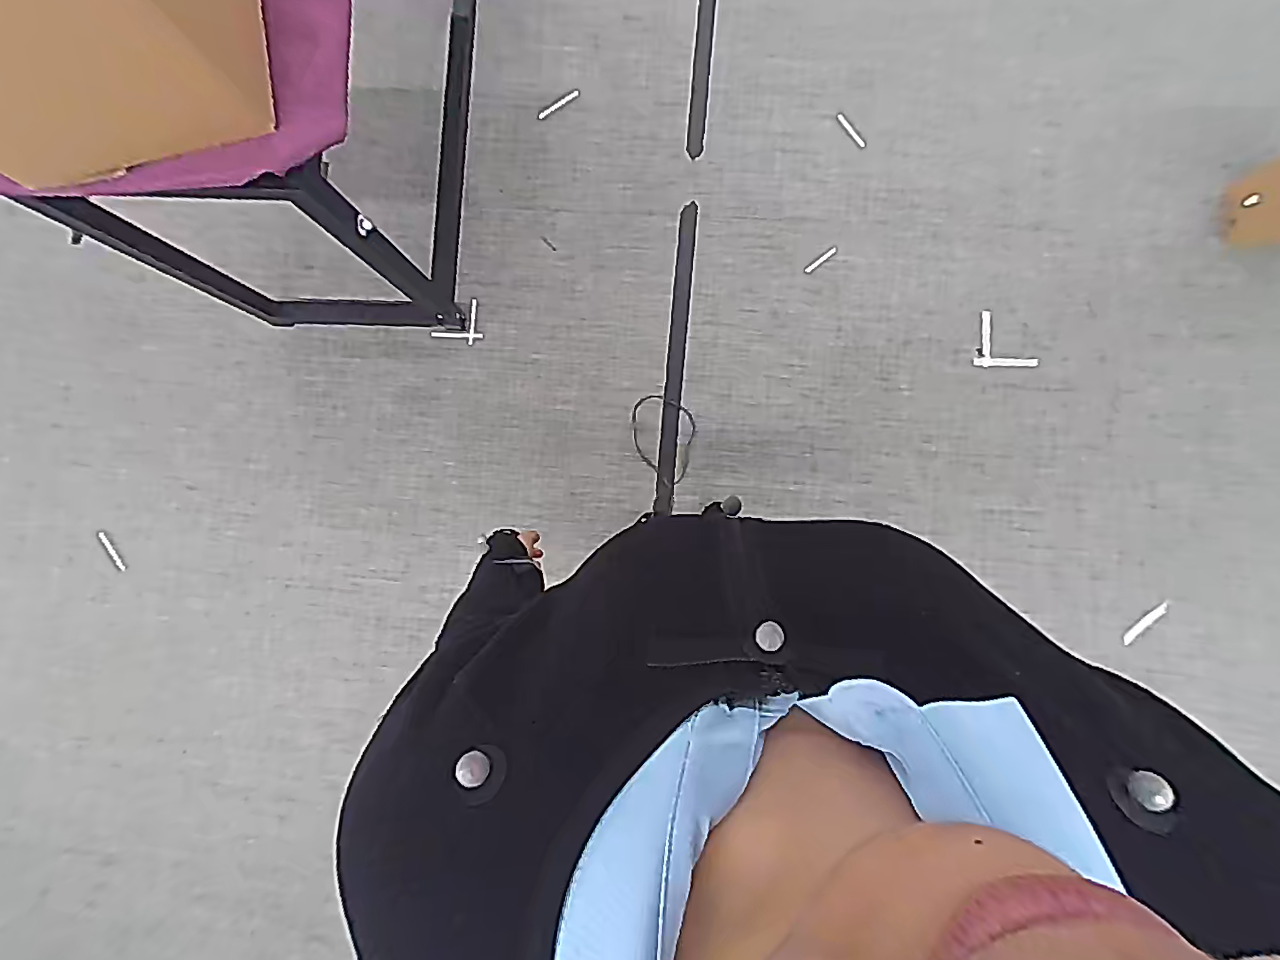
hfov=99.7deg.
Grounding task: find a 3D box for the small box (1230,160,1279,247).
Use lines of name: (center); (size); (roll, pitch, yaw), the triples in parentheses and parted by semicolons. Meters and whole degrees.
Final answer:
small box: (1.706, -0.726, 1.411); (0.179, 0.176, 0.168); (0, 87, 2)
